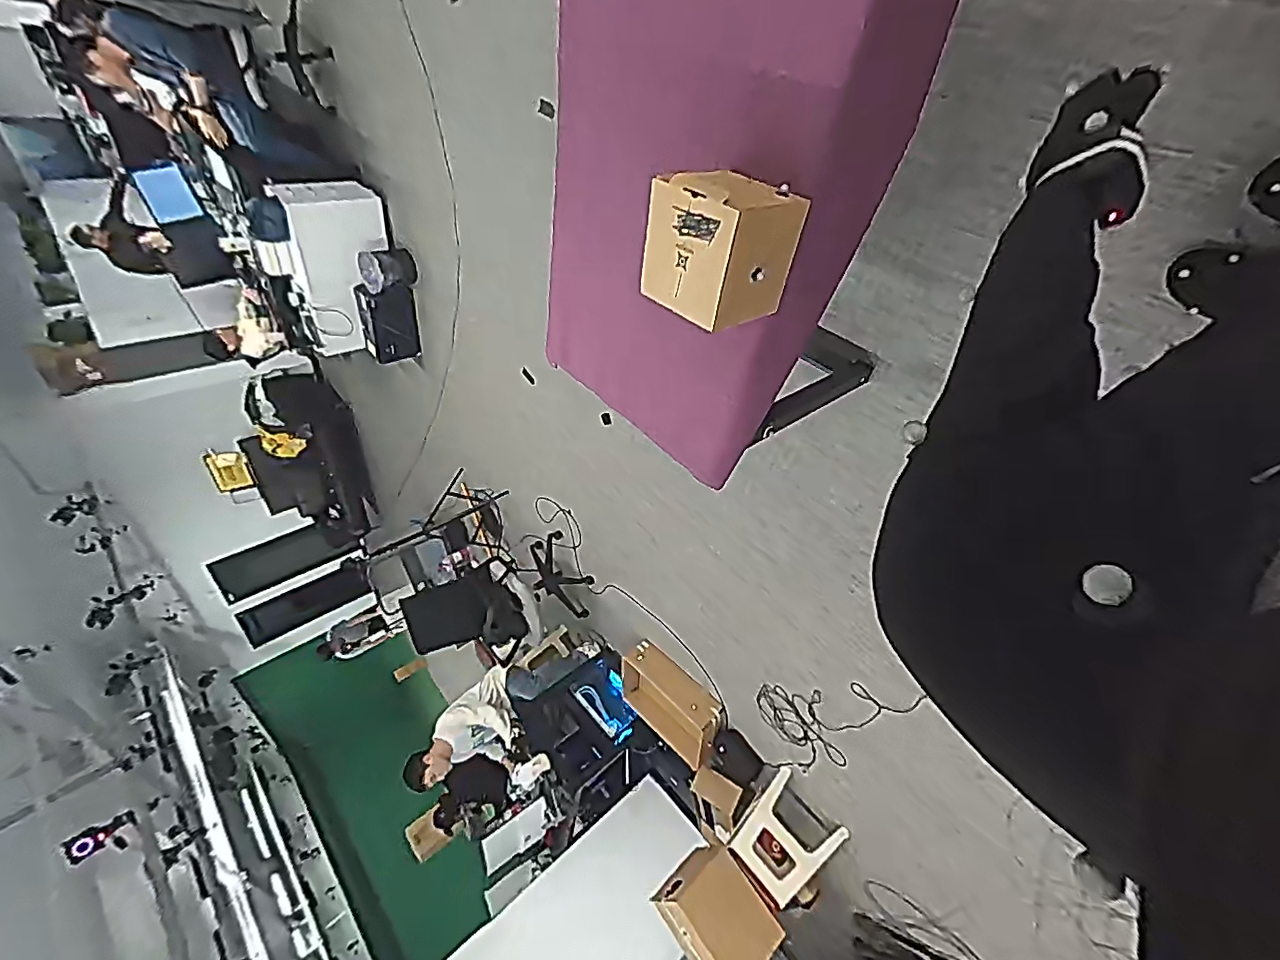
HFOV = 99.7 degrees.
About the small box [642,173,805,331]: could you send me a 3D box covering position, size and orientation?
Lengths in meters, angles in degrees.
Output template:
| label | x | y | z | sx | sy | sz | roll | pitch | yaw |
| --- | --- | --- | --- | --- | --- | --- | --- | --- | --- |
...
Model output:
| label | x | y | z | sx | sy | sz | roll | pitch | yaw |
| --- | --- | --- | --- | --- | --- | --- | --- | --- | --- |
| small box | 0.127 | -0.360 | 0.836 | 0.168 | 0.176 | 0.179 | 40 | 139 | 31 |
